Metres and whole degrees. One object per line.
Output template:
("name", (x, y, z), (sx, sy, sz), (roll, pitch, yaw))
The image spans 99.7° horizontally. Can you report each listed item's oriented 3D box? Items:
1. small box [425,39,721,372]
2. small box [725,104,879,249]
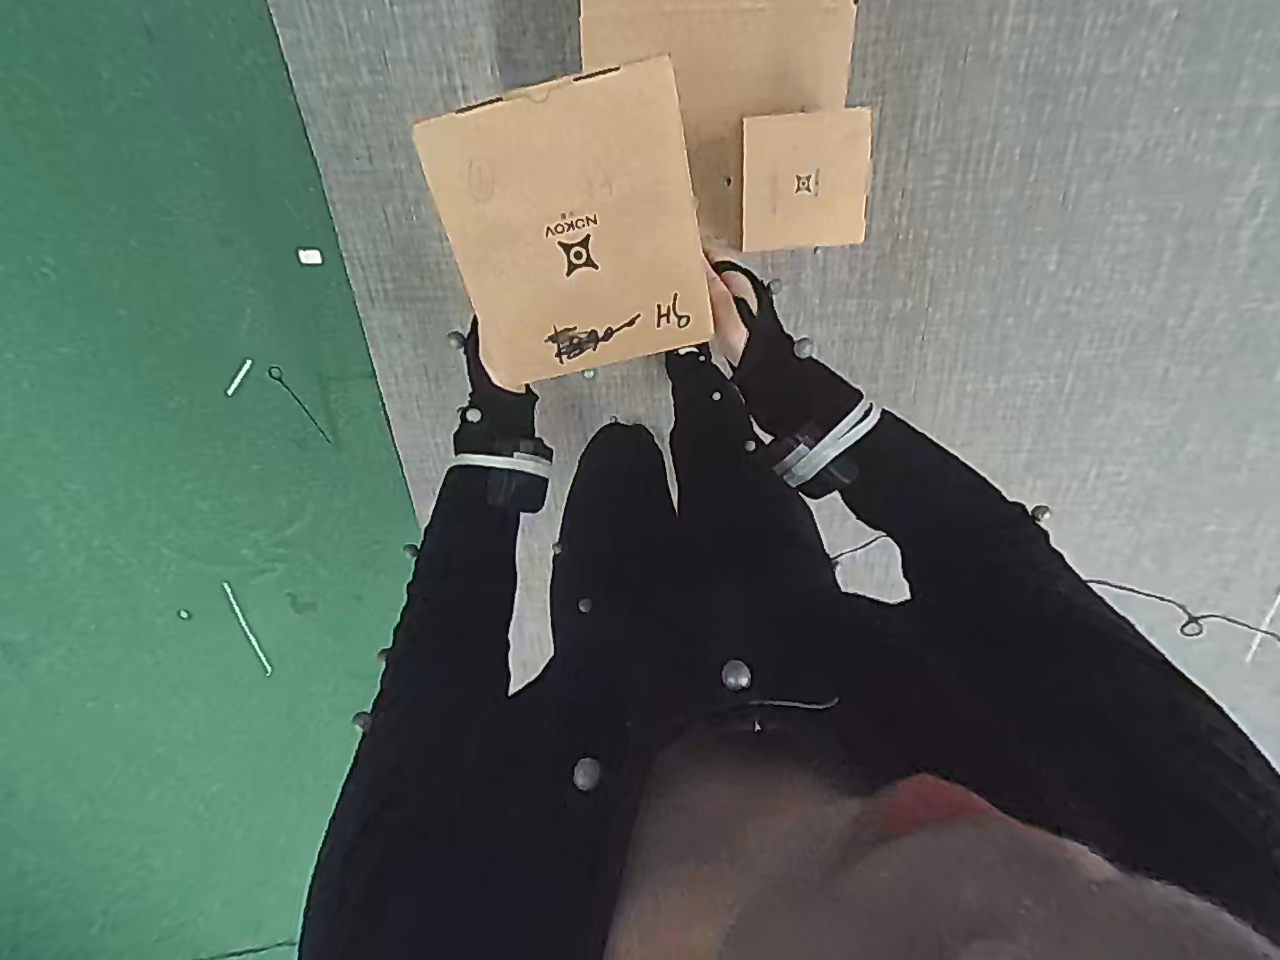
("small box", (-0.041, -0.207, 0.435), (0.168, 0.176, 0.179), (-12, 117, 4))
("small box", (0.227, -0.442, 0.803), (0.179, 0.176, 0.168), (-4, 115, 2))
